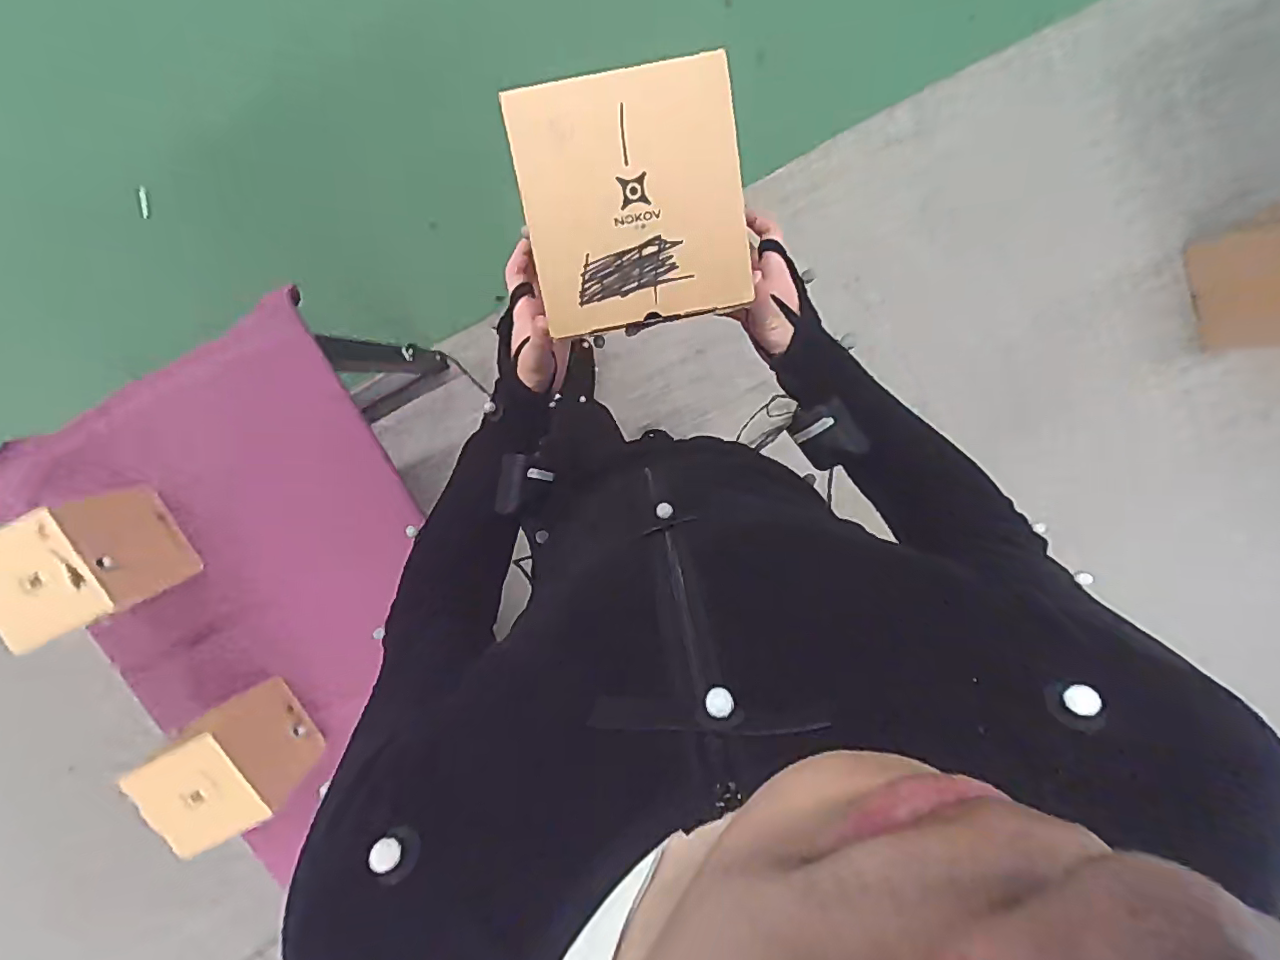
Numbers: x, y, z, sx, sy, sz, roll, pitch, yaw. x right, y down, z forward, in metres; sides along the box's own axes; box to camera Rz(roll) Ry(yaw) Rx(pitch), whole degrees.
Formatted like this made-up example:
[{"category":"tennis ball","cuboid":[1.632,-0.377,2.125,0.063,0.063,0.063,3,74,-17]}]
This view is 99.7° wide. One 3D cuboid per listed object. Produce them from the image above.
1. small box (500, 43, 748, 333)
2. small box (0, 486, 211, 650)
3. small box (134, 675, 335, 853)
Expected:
[{"category":"small box","cuboid":[-0.008,-0.233,0.478,0.168,0.176,0.179,-9,105,1]},{"category":"small box","cuboid":[-0.847,0.129,0.852,0.179,0.176,0.168,-26,100,6]},{"category":"small box","cuboid":[-0.668,0.469,0.915,0.179,0.176,0.168,-28,100,5]}]
